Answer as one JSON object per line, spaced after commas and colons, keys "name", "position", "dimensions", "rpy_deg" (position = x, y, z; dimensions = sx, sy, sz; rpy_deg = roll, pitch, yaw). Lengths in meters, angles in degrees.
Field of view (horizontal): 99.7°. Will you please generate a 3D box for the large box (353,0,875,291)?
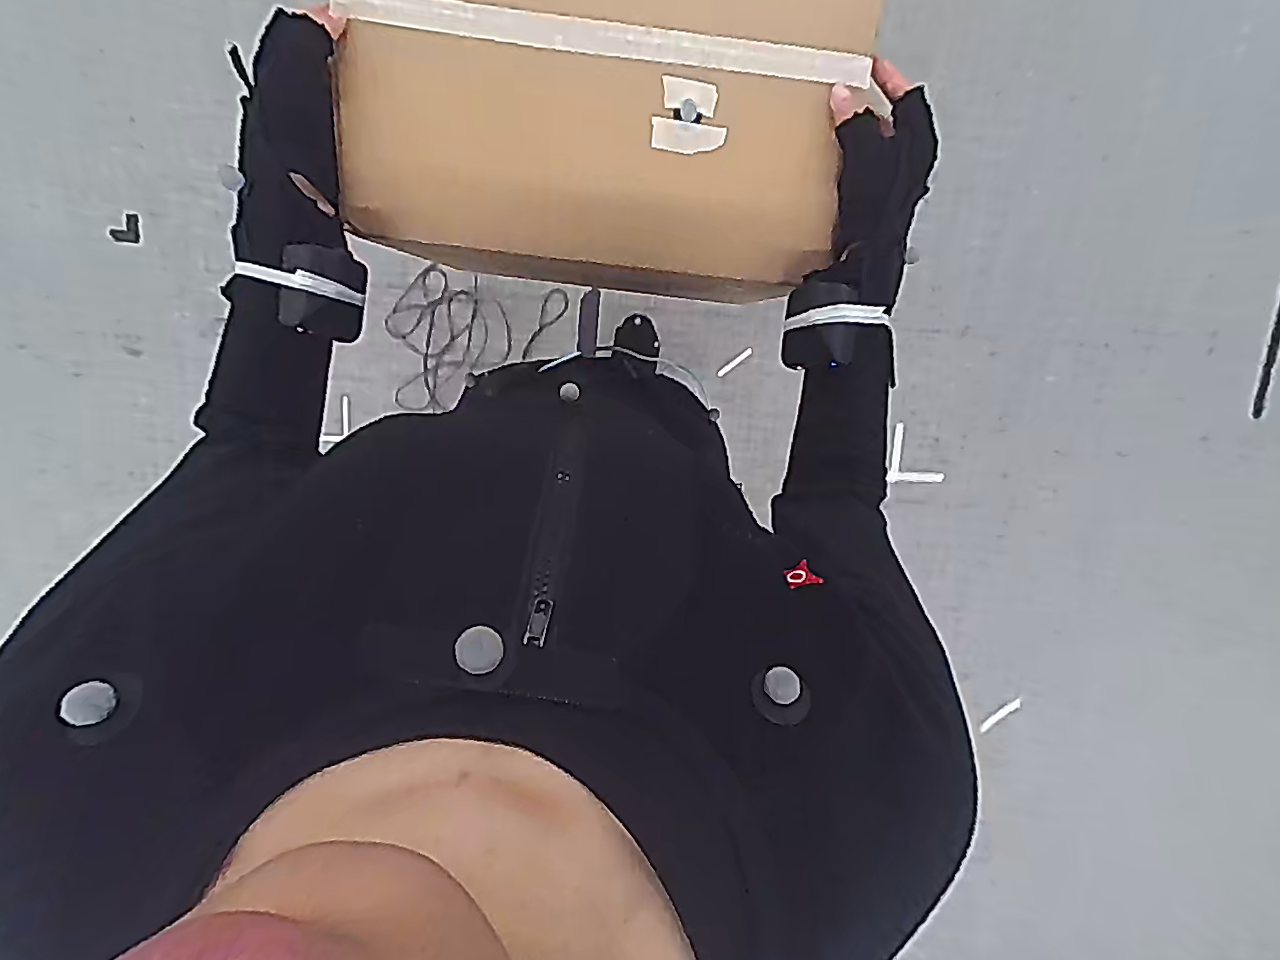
{"name": "large box", "position": [-0.027, -0.384, 0.562], "dimensions": [0.408, 0.320, 0.320], "rpy_deg": [5, 107, -4]}
